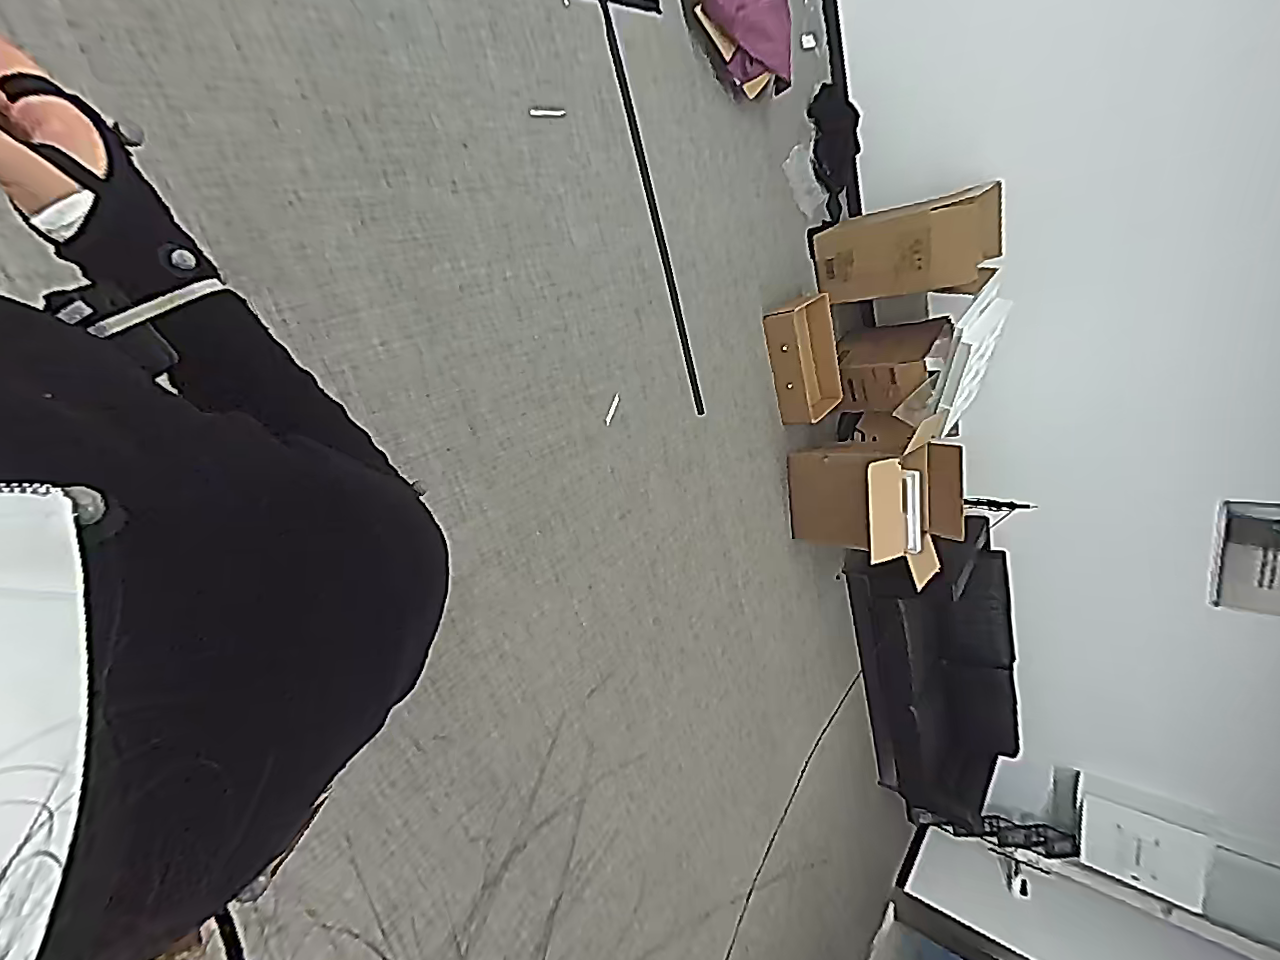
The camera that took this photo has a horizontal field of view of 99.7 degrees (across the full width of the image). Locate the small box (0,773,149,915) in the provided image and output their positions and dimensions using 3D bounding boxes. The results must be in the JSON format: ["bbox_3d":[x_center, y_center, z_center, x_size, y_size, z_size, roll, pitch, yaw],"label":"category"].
[{"bbox_3d":[-0.767,0.520,0.680,0.179,0.176,0.168,-34,115,-37],"label":"small box"}]

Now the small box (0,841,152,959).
[{"bbox_3d":[-0.650,0.535,0.567,0.168,0.176,0.179,-31,114,-38],"label":"small box"}]
